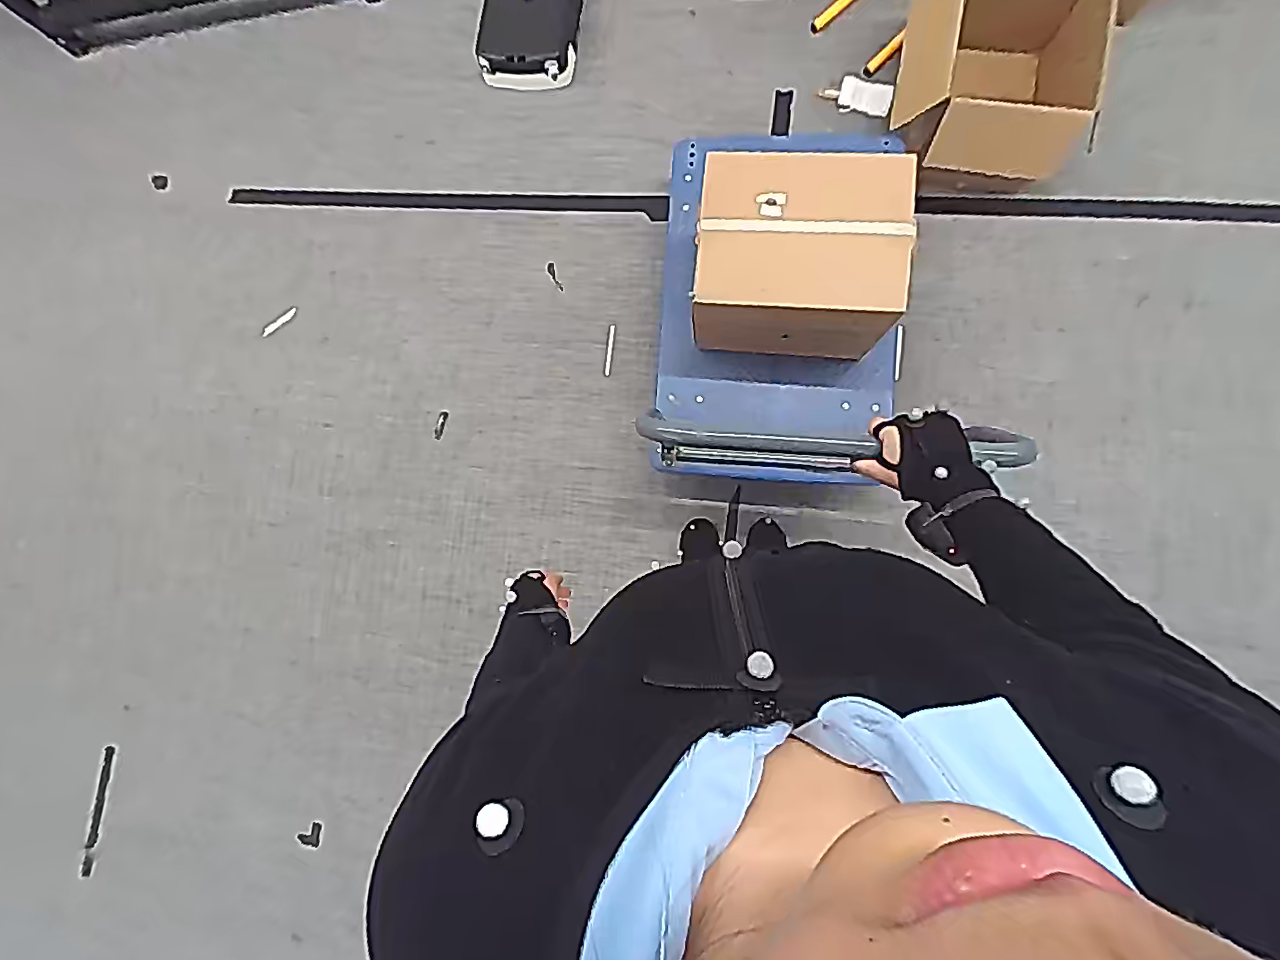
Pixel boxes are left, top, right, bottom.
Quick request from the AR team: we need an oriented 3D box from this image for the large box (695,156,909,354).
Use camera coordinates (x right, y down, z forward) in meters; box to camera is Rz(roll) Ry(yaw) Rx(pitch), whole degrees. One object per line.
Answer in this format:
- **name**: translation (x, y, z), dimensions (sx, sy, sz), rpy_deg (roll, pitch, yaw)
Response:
- **large box**: translation (0.341, -0.478, 1.215), dimensions (0.408, 0.320, 0.320), rpy_deg (4, 86, 9)
